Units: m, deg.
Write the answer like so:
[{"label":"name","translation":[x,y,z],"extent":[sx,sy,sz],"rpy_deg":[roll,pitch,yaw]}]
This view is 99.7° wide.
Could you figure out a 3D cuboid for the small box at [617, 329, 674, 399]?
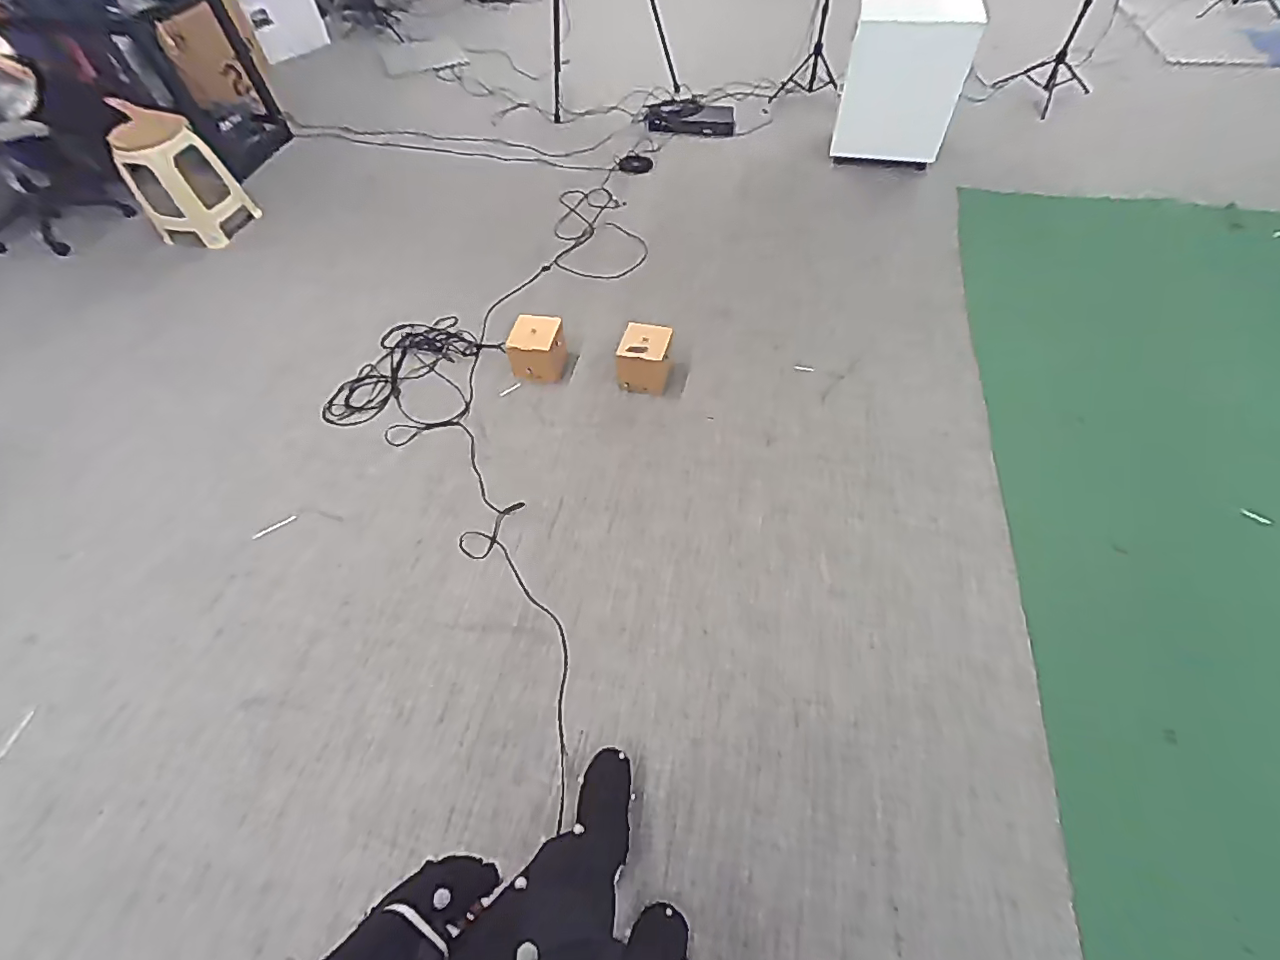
[{"label":"small box","translation":[0.026,-0.416,1.955],"extent":[0.168,0.176,0.179],"rpy_deg":[11,56,12]}]

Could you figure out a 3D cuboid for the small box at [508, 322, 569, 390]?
[{"label":"small box","translation":[-0.369,-0.463,2.016],"extent":[0.168,0.176,0.179],"rpy_deg":[7,57,9]}]
